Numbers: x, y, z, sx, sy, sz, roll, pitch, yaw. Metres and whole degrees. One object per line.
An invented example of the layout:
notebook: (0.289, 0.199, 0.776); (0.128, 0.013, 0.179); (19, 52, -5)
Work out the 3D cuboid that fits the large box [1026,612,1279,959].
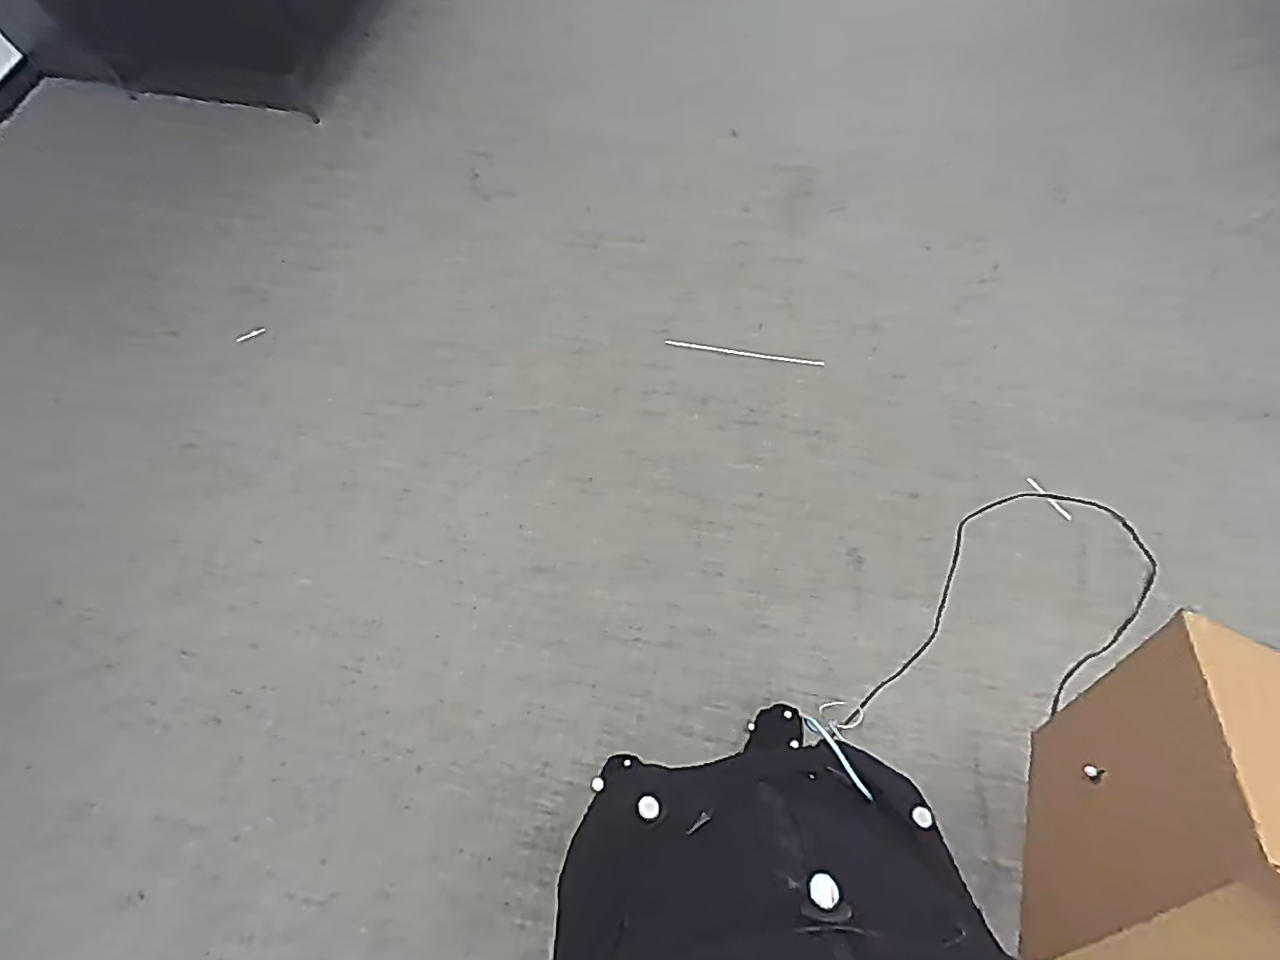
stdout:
large box: (0.692, 0.439, 0.610); (0.320, 0.320, 0.408); (34, 36, 21)
